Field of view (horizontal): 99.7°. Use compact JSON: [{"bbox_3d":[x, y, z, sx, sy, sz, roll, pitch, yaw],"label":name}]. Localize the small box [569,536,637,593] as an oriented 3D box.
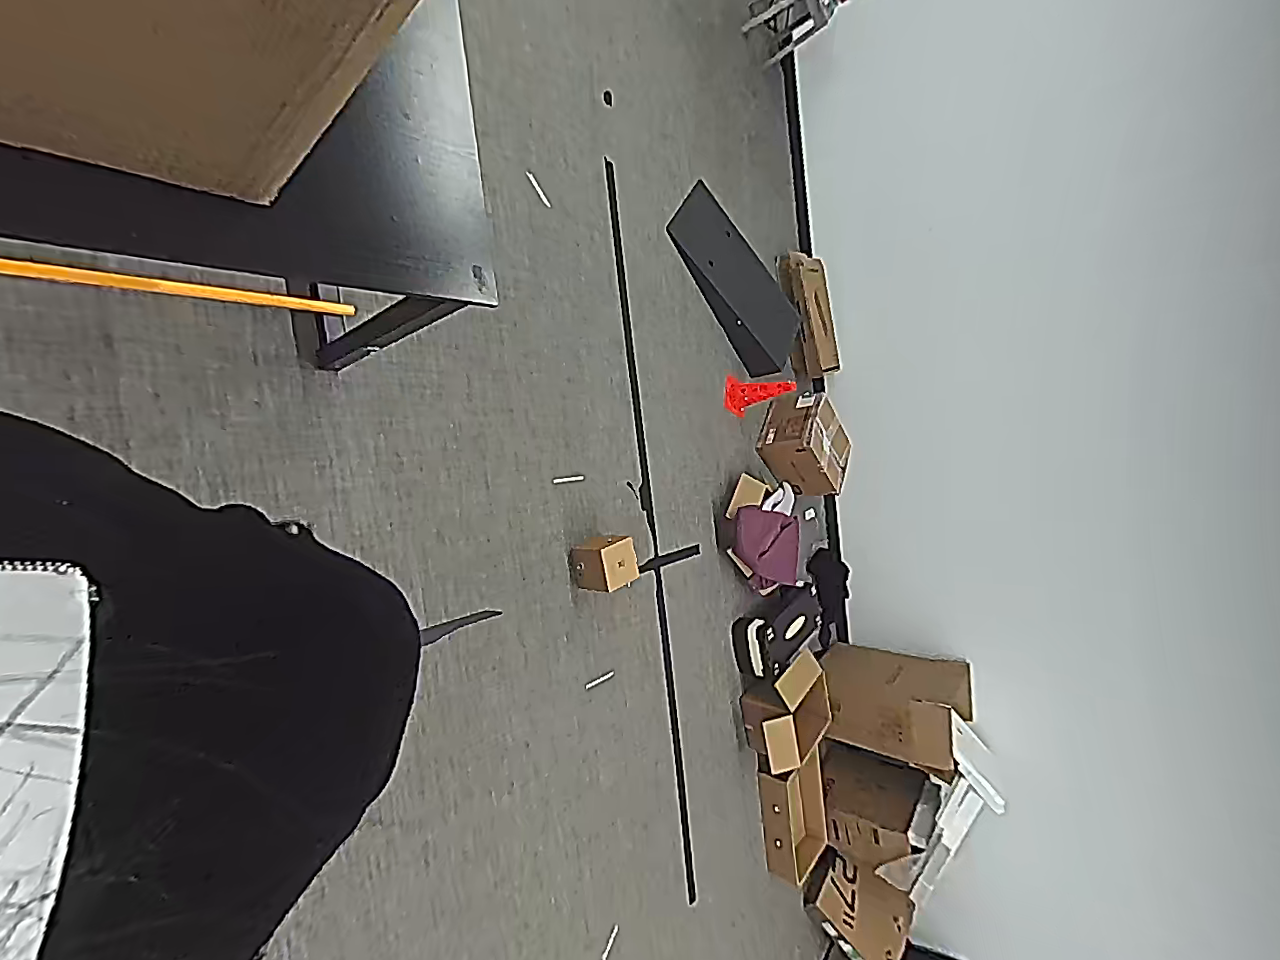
[{"bbox_3d":[-0.141,0.314,2.056,0.179,0.176,0.168,-19,101,-47],"label":"small box"}]
